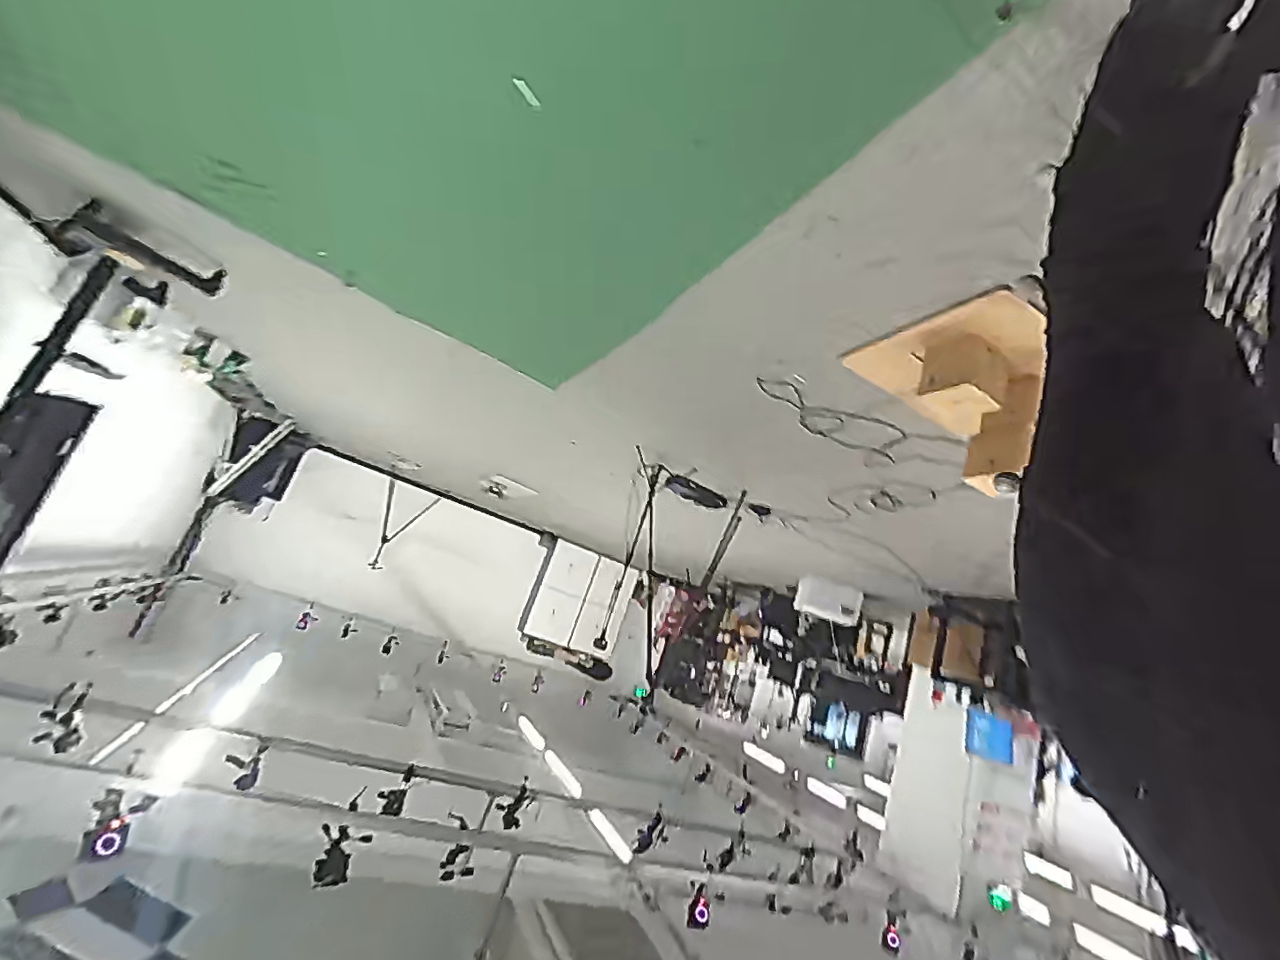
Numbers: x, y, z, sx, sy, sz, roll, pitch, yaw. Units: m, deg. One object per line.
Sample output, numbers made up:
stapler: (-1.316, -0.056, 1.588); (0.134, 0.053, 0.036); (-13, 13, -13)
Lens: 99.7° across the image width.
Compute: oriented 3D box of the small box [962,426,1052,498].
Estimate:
small box: (1.183, -0.054, 1.741); (0.168, 0.176, 0.179); (25, 164, -19)

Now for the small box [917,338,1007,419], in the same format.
small box: (1.004, -0.313, 1.683); (0.168, 0.176, 0.179); (24, 164, -23)

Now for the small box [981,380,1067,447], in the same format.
small box: (1.250, -0.205, 1.758); (0.168, 0.176, 0.179); (24, 165, -17)
